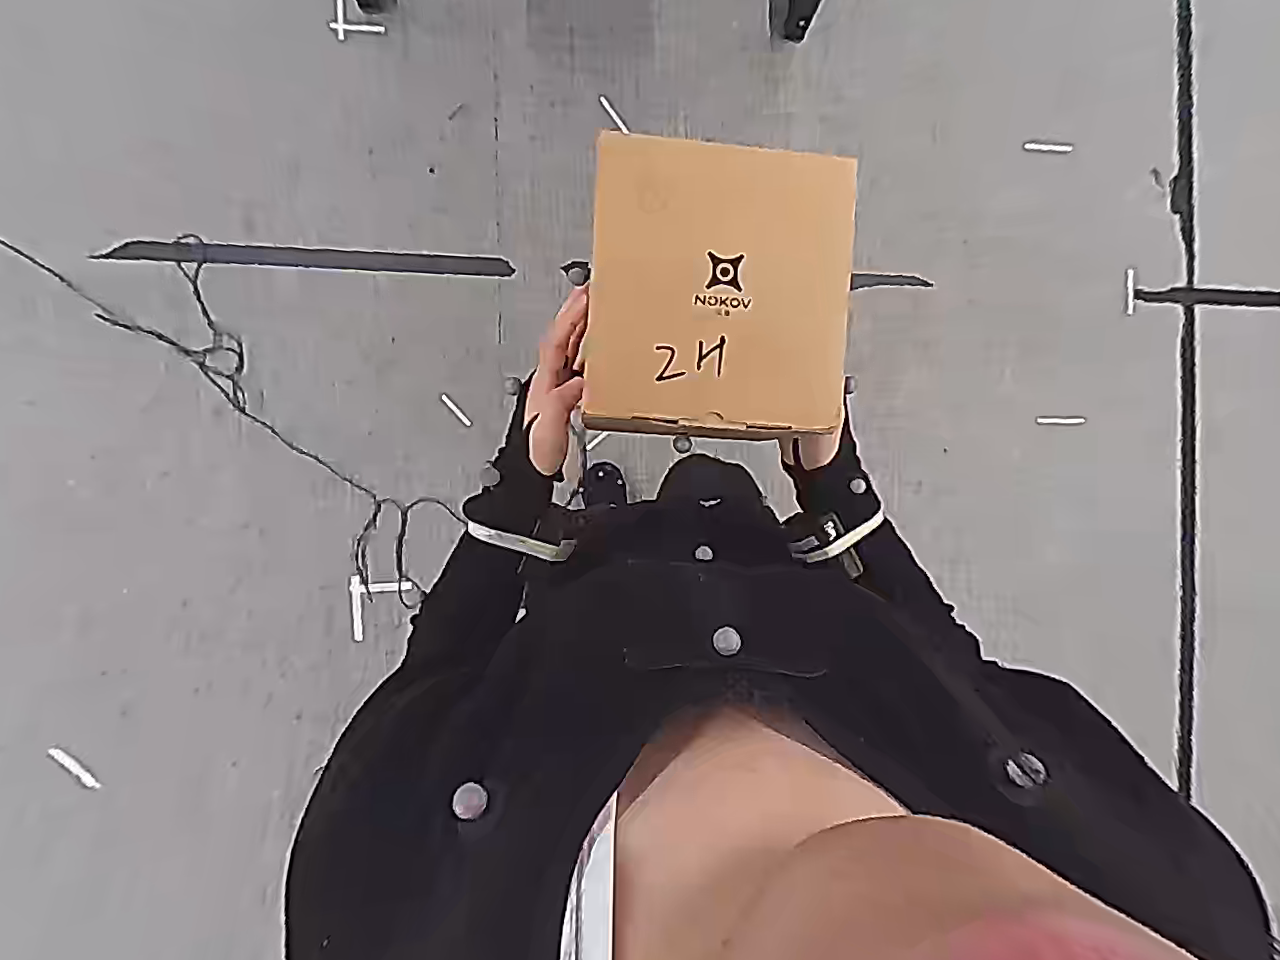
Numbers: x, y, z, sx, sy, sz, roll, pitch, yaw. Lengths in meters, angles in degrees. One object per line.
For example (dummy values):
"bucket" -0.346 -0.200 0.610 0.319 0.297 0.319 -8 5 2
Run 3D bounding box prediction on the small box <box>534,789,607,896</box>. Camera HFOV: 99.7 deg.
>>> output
"small box" -0.178 0.926 1.394 0.179 0.176 0.168 1 91 -7

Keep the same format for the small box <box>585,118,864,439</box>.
"small box" 0.046 -0.126 0.410 0.168 0.176 0.179 4 92 -5
